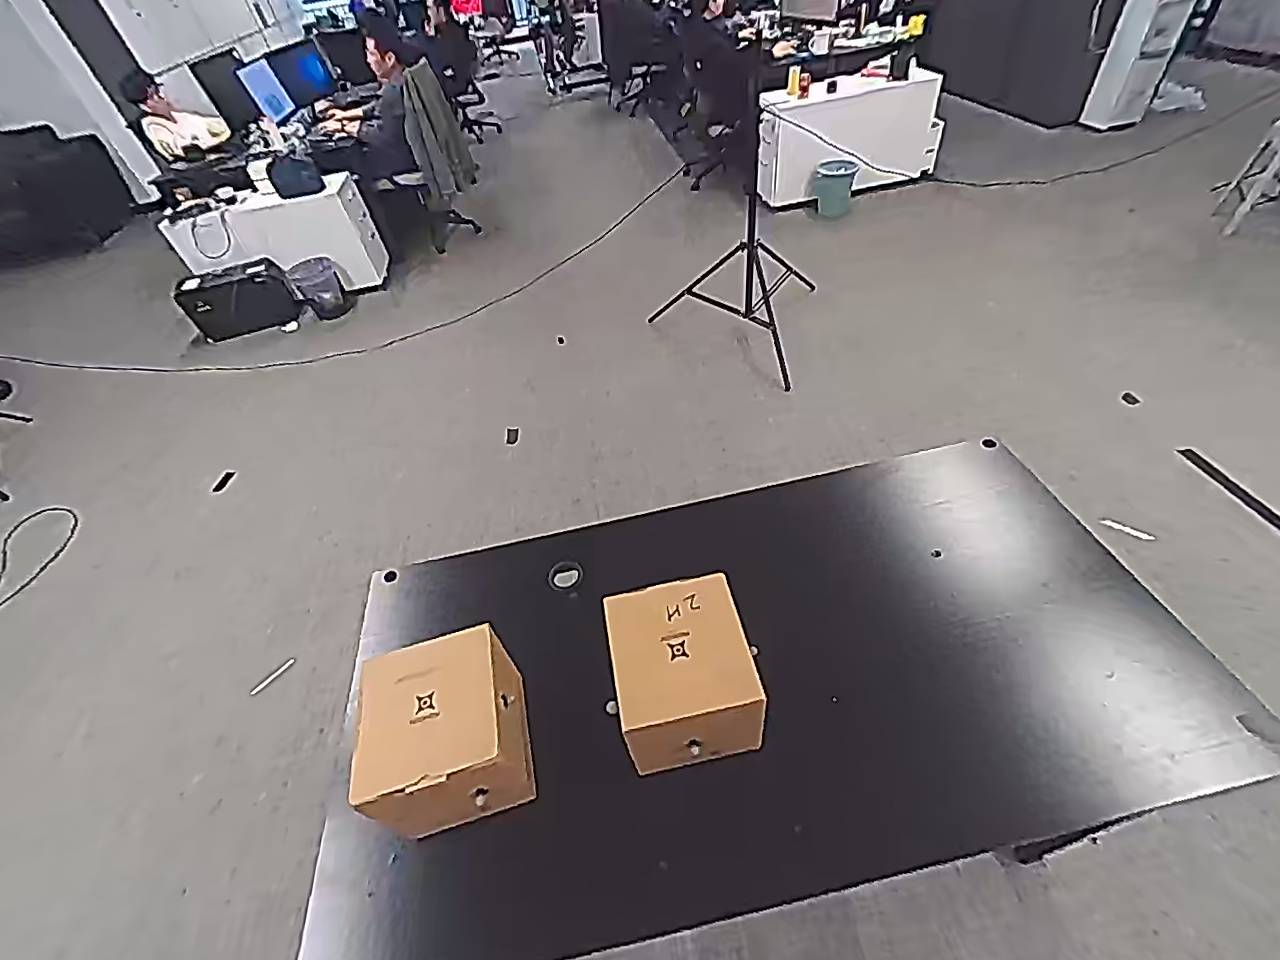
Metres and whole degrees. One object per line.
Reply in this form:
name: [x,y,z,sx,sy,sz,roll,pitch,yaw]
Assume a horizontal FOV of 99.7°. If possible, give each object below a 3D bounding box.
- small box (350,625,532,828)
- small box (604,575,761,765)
small box: [-0.246,0.324,0.701,0.168,0.176,0.179,-15,45,-7]
small box: [0.054,0.256,0.713,0.168,0.176,0.179,-11,46,-2]
